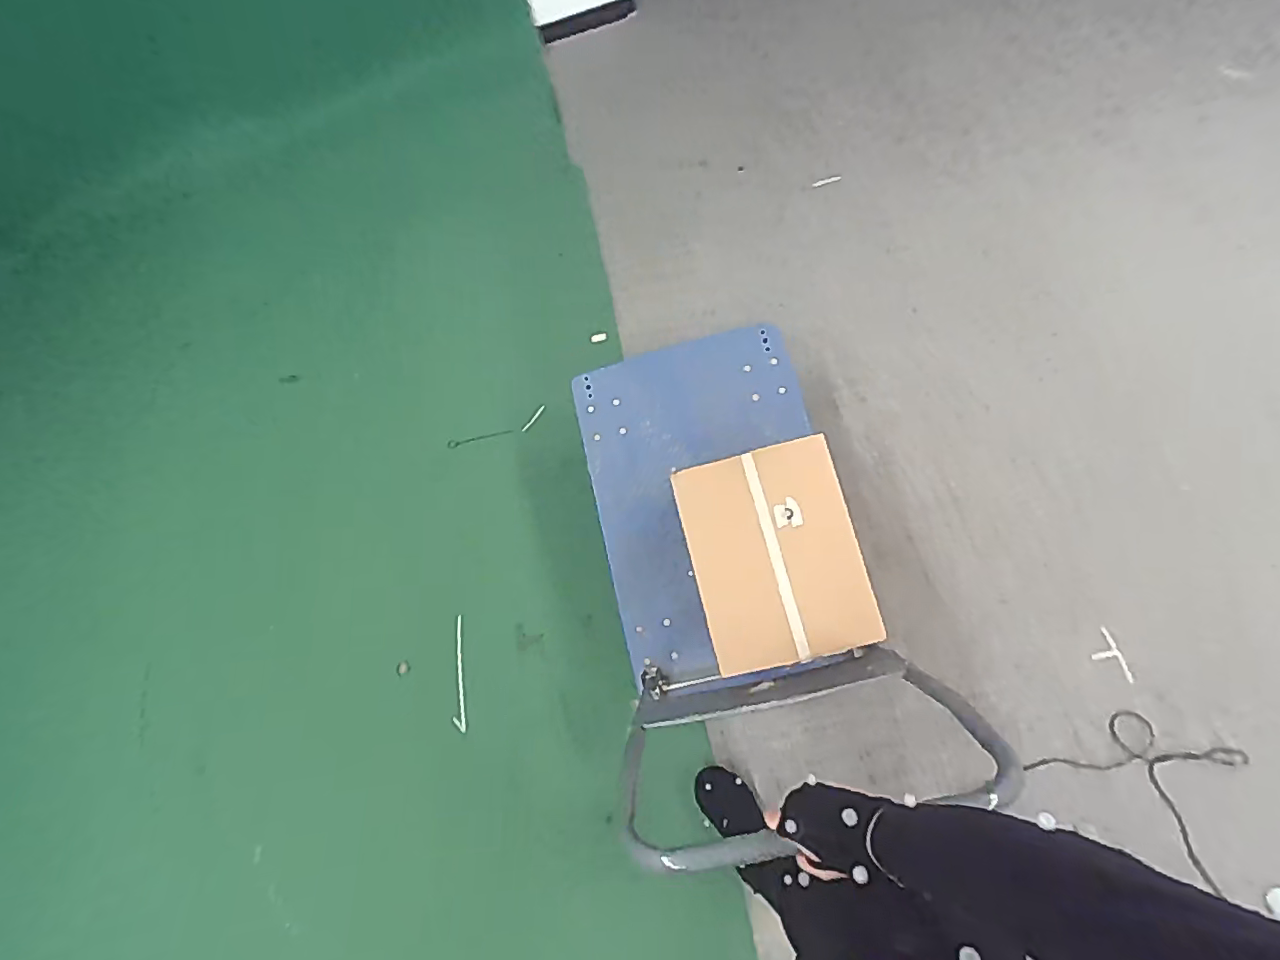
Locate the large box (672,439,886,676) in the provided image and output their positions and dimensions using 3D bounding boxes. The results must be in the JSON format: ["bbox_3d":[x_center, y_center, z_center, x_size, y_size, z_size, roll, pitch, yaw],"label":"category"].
[{"bbox_3d":[0.279,0.169,1.188,0.320,0.320,0.408,-15,79,4],"label":"large box"}]
